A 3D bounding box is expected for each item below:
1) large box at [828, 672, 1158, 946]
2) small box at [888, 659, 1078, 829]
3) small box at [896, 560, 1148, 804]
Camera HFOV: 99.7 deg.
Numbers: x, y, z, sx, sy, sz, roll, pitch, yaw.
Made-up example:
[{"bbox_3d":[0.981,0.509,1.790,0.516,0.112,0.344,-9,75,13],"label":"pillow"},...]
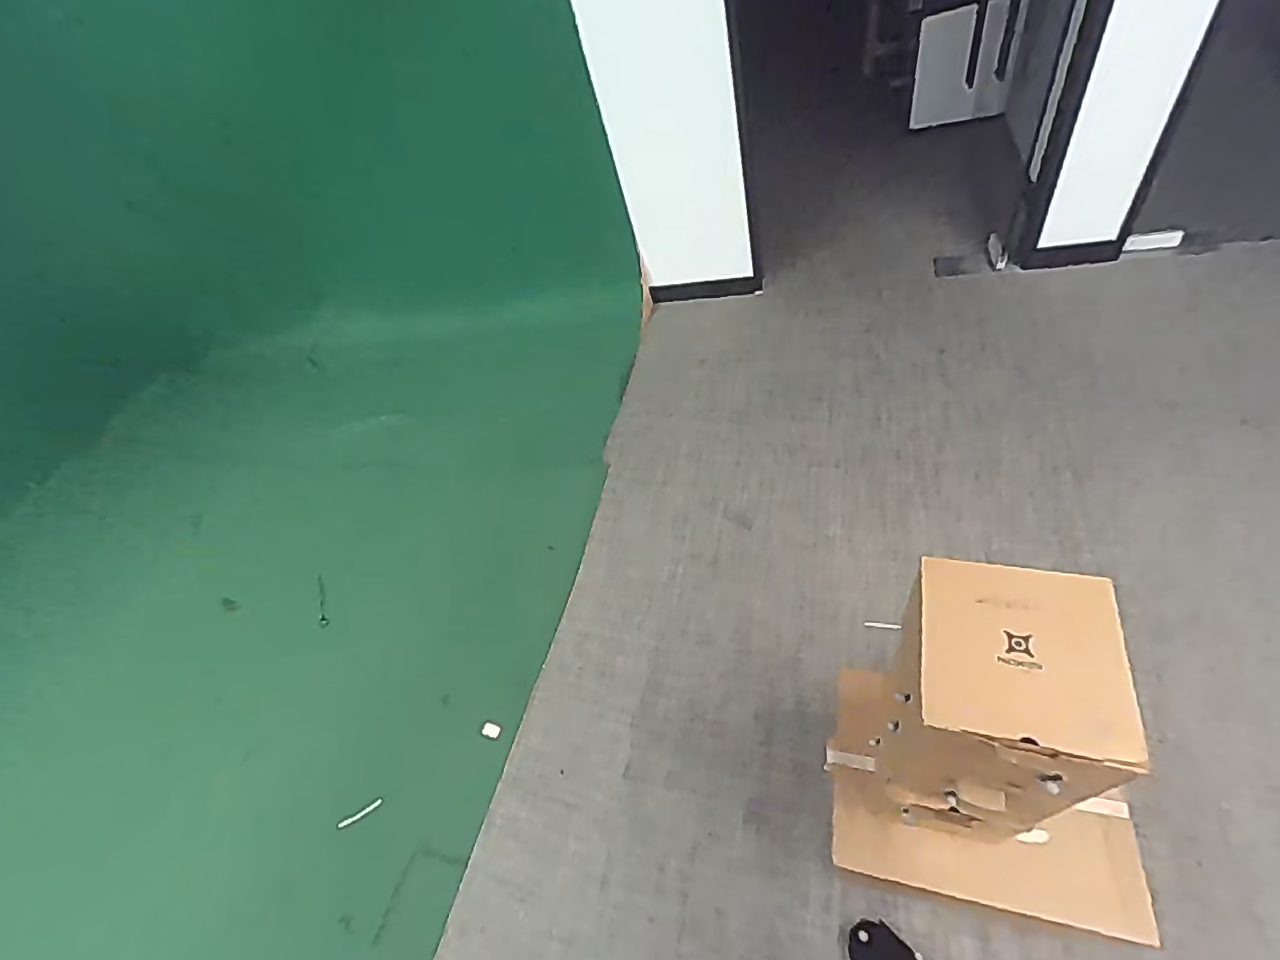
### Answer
[{"bbox_3d":[0.551,0.569,0.959,0.408,0.320,0.320,2,54,19],"label":"large box"},{"bbox_3d":[0.413,0.306,0.679,0.168,0.176,0.179,7,54,23],"label":"small box"},{"bbox_3d":[0.366,0.208,0.557,0.168,0.176,0.179,5,53,21],"label":"small box"}]
